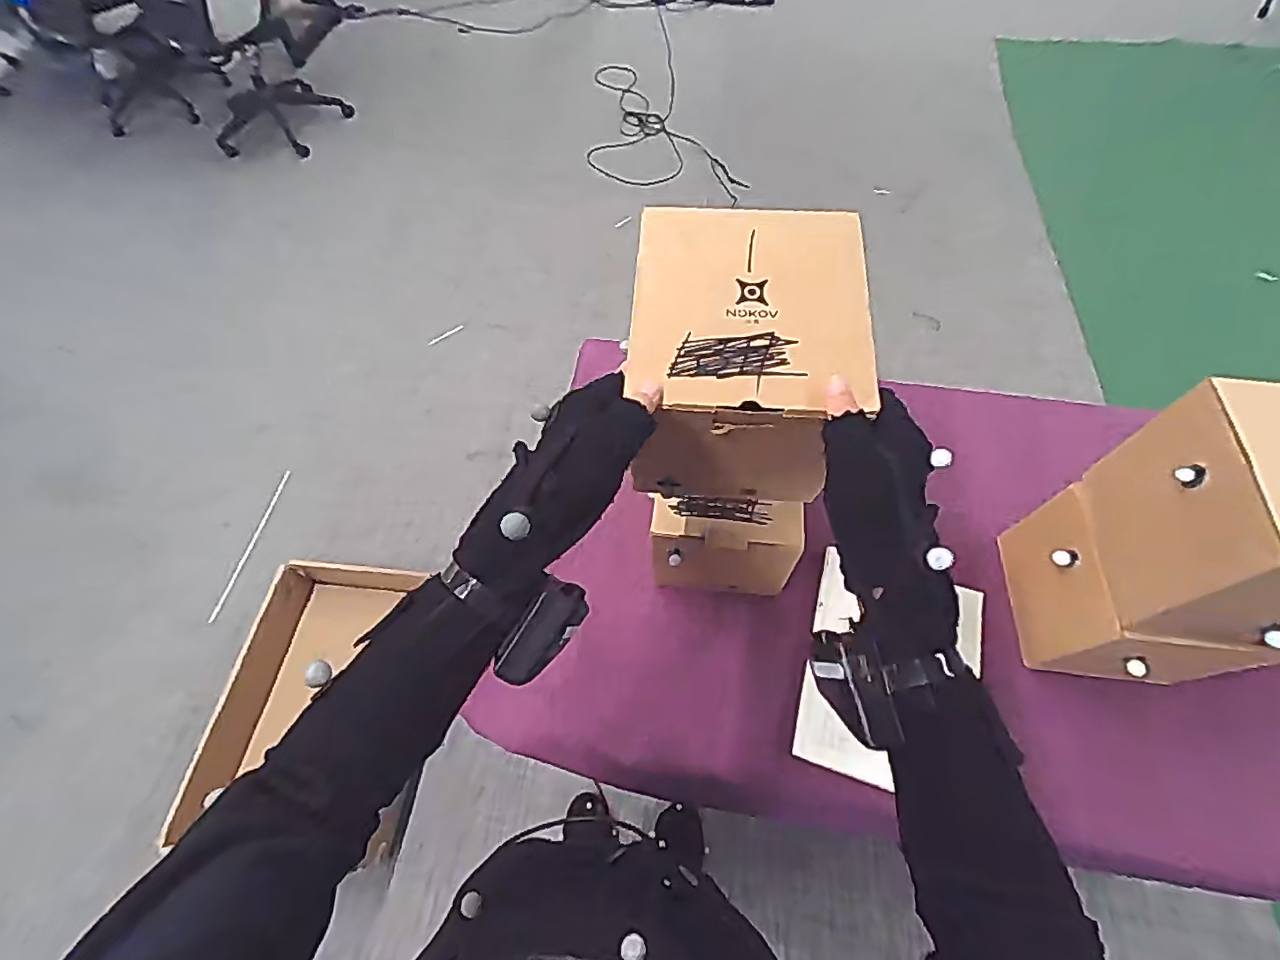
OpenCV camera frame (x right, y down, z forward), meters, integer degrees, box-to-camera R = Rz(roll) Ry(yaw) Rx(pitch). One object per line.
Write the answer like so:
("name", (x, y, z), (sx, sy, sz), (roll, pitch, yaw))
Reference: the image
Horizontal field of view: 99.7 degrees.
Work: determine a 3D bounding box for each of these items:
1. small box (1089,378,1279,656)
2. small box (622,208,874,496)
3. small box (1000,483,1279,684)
("small box", (0.548, 0.038, 0.479), (0.168, 0.176, 0.179), (8, 61, 8))
("small box", (0.079, -0.095, 0.455), (0.168, 0.176, 0.179), (3, 68, 3))
("small box", (0.552, 0.125, 0.619), (0.168, 0.176, 0.179), (5, 60, 6))
